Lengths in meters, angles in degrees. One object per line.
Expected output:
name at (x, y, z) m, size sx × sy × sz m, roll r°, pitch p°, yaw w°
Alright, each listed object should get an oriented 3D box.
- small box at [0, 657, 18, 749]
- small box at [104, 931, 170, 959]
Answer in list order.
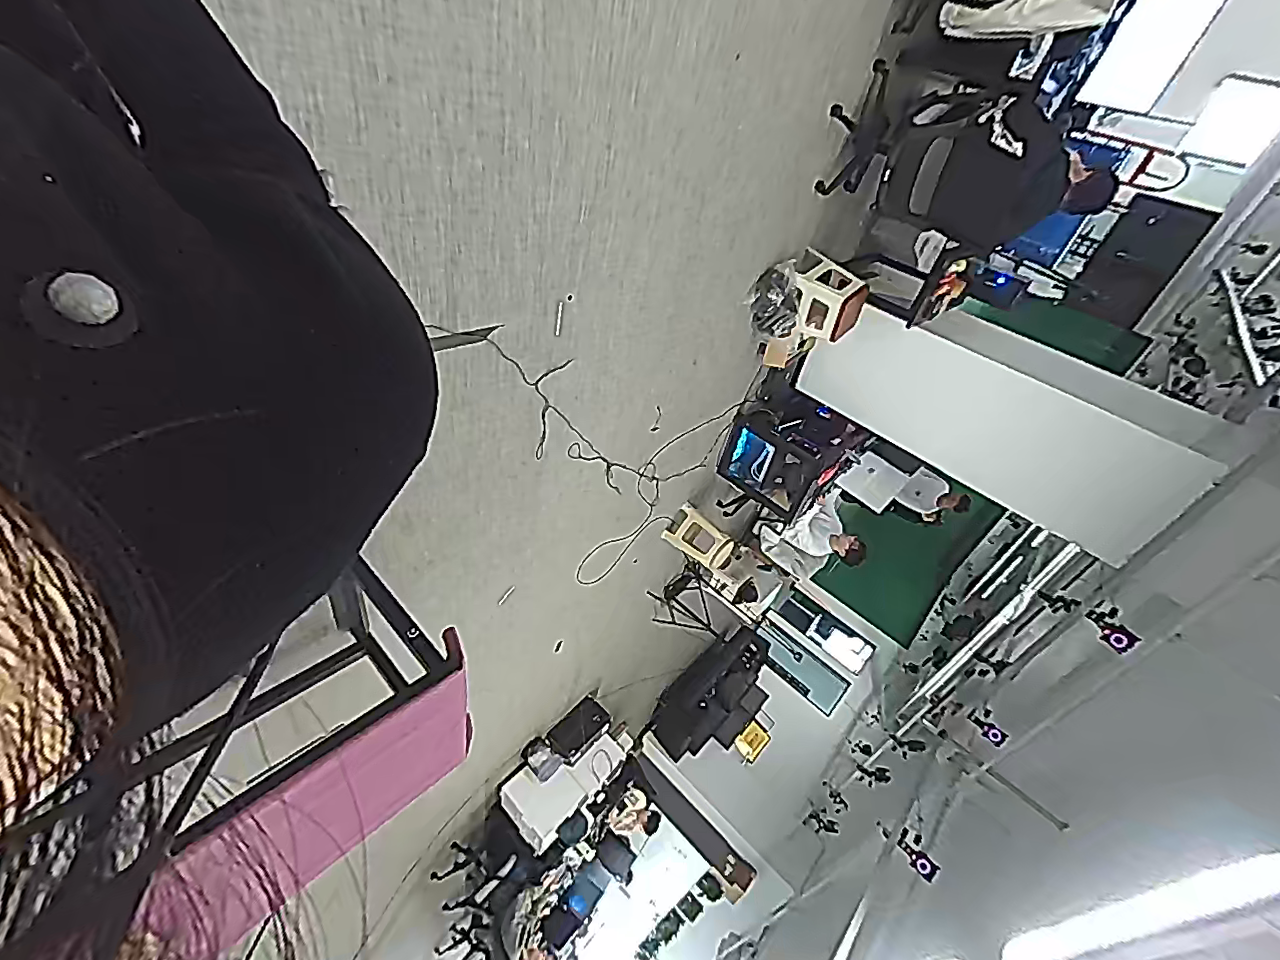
small box at (-1.601, 0.541, 1.258) m, size 0.179 × 0.176 × 0.168 m, roll -14°, pitch 133°, yaw -55°
small box at (-1.093, 1.110, 1.128) m, size 0.179 × 0.176 × 0.168 m, roll -28°, pitch 146°, yaw -43°
